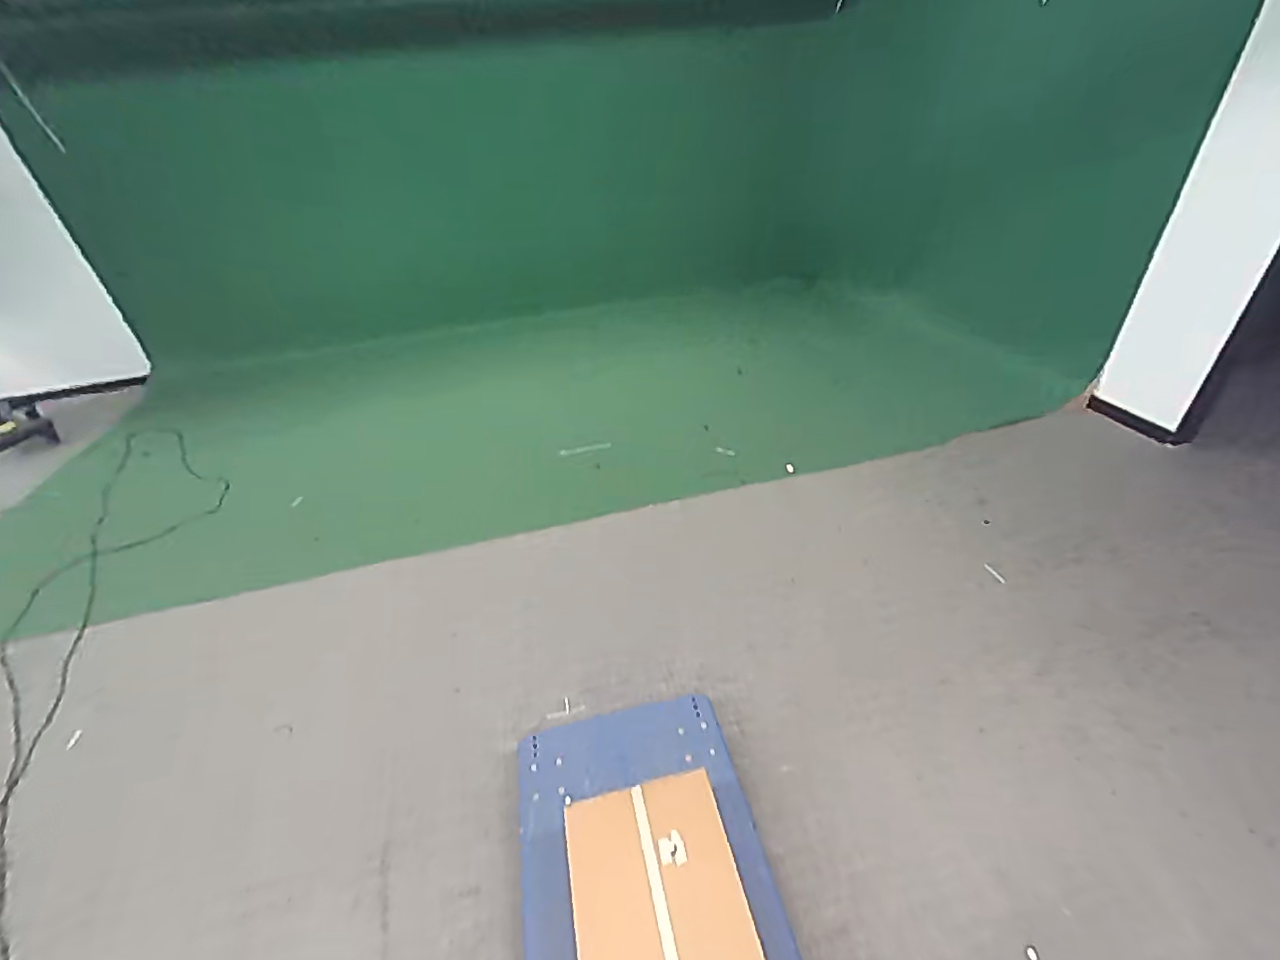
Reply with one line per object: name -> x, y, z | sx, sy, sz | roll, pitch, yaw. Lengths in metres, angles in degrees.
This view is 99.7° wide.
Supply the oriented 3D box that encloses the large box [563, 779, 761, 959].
large box -> 0.043, 0.905, 1.077 | 0.320, 0.320, 0.408 | -10, 34, -8
